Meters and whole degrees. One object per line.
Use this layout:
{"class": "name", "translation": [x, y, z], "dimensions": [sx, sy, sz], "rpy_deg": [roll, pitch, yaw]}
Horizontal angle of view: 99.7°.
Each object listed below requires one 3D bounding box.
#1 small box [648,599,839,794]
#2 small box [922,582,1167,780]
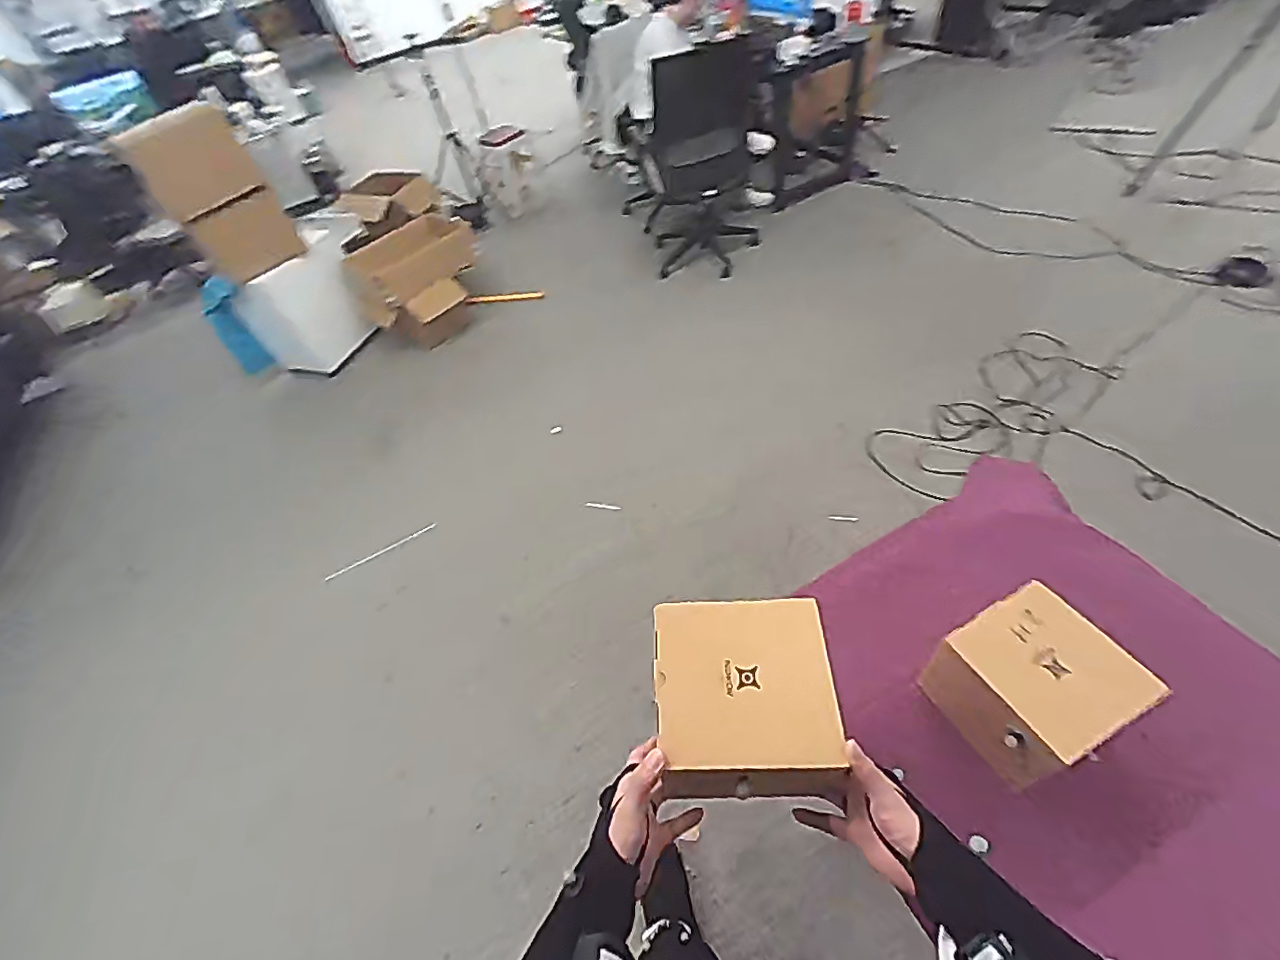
{"class": "small box", "translation": [0.103, 0.246, 0.606], "dimensions": [0.179, 0.176, 0.168], "rpy_deg": [-5, 53, 5]}
{"class": "small box", "translation": [0.520, 0.277, 0.728], "dimensions": [0.168, 0.176, 0.179], "rpy_deg": [-26, 50, -9]}
